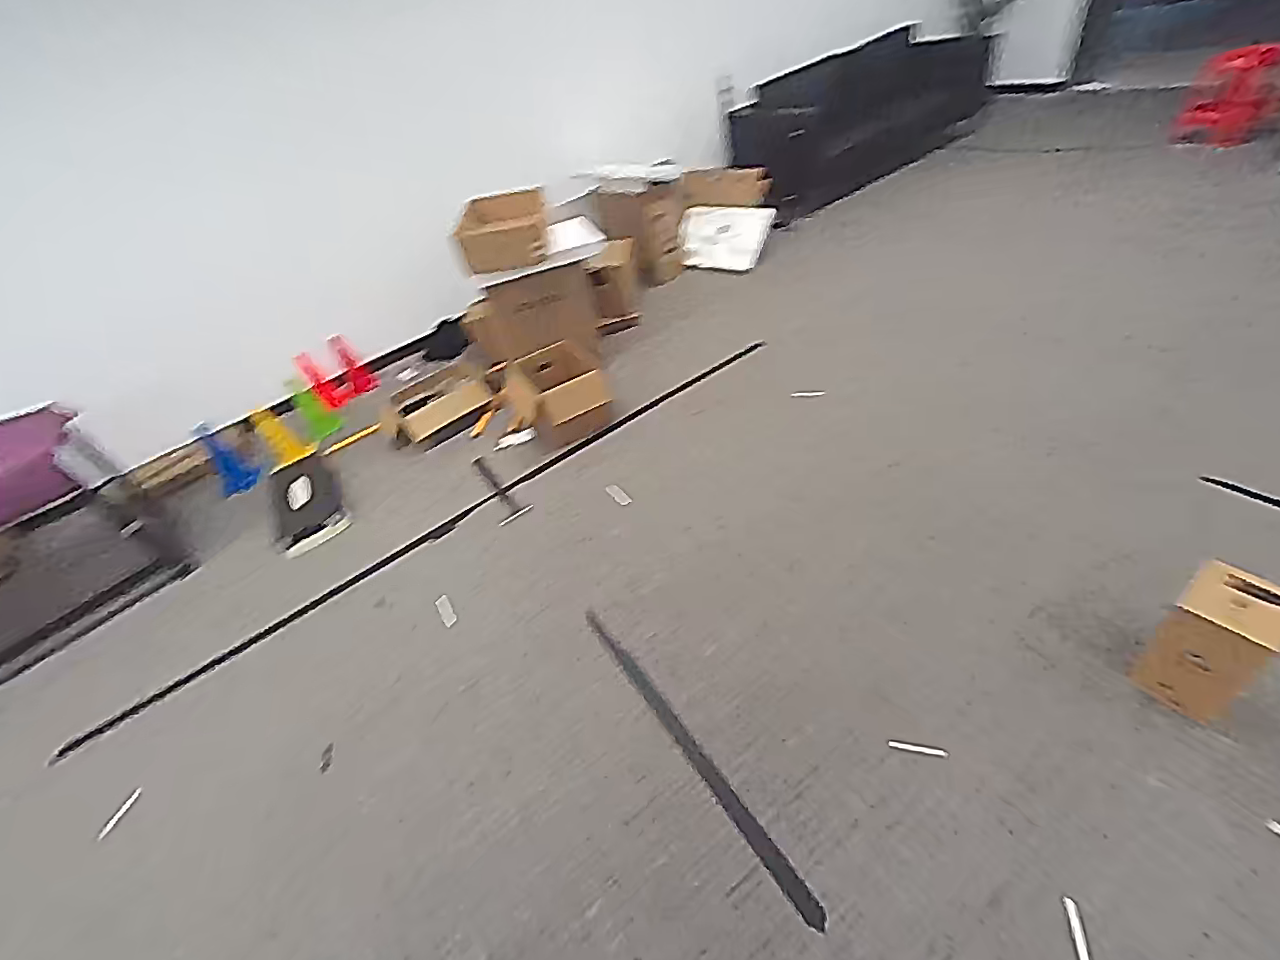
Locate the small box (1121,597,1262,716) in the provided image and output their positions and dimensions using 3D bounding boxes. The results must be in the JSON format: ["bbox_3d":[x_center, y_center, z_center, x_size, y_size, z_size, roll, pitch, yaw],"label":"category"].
[{"bbox_3d":[1.318,0.425,1.305,0.179,0.176,0.168,-34,44,-20],"label":"small box"}]
